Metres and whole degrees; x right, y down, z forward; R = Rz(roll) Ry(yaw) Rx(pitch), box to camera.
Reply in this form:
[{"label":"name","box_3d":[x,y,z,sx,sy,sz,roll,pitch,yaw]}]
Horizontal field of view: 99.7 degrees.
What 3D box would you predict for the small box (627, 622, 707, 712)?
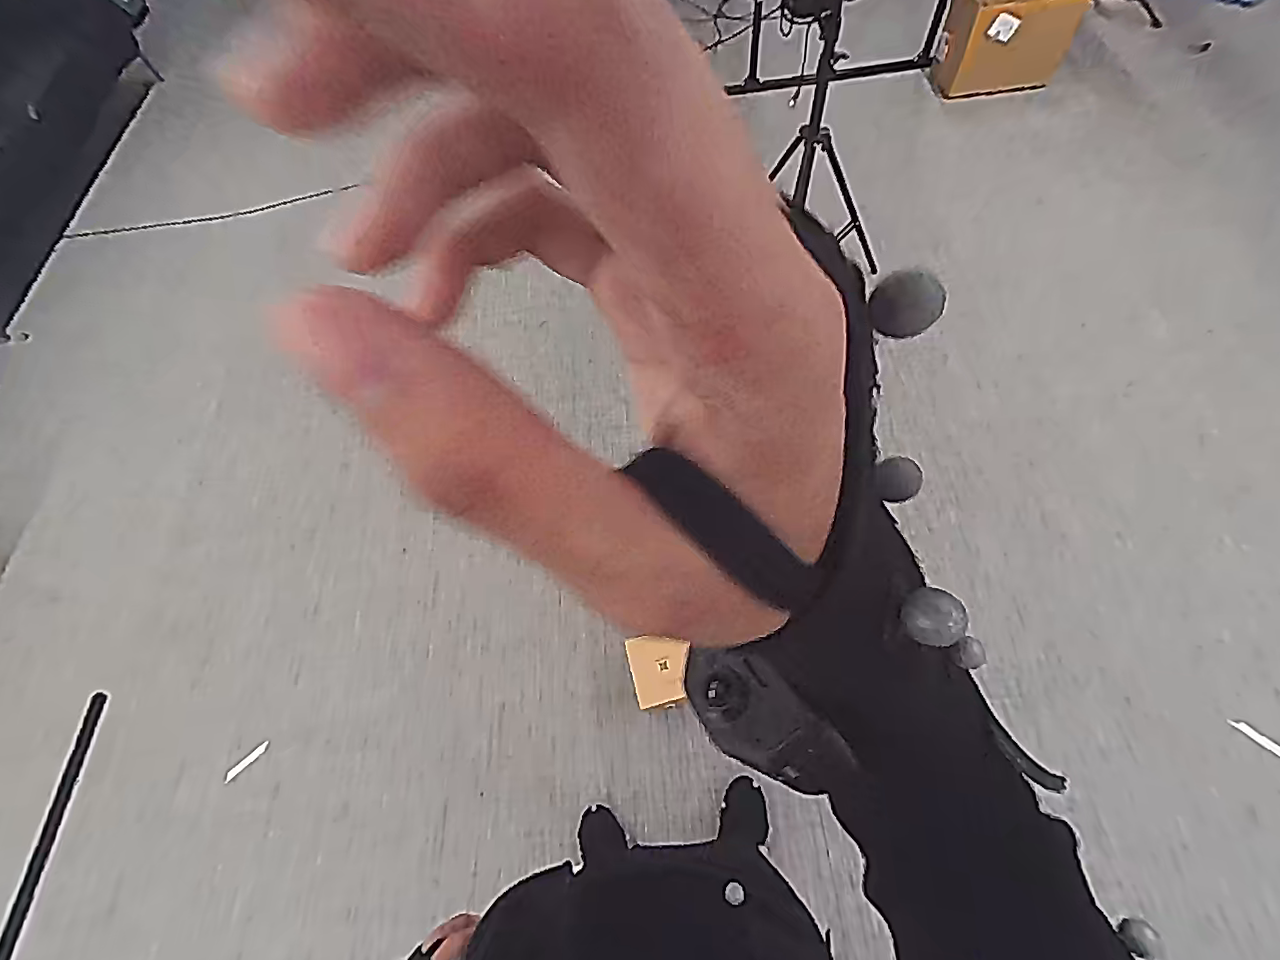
[{"label":"small box","box_3d":[0.071,0.493,1.415,0.168,0.176,0.179,-16,62,-1]}]
